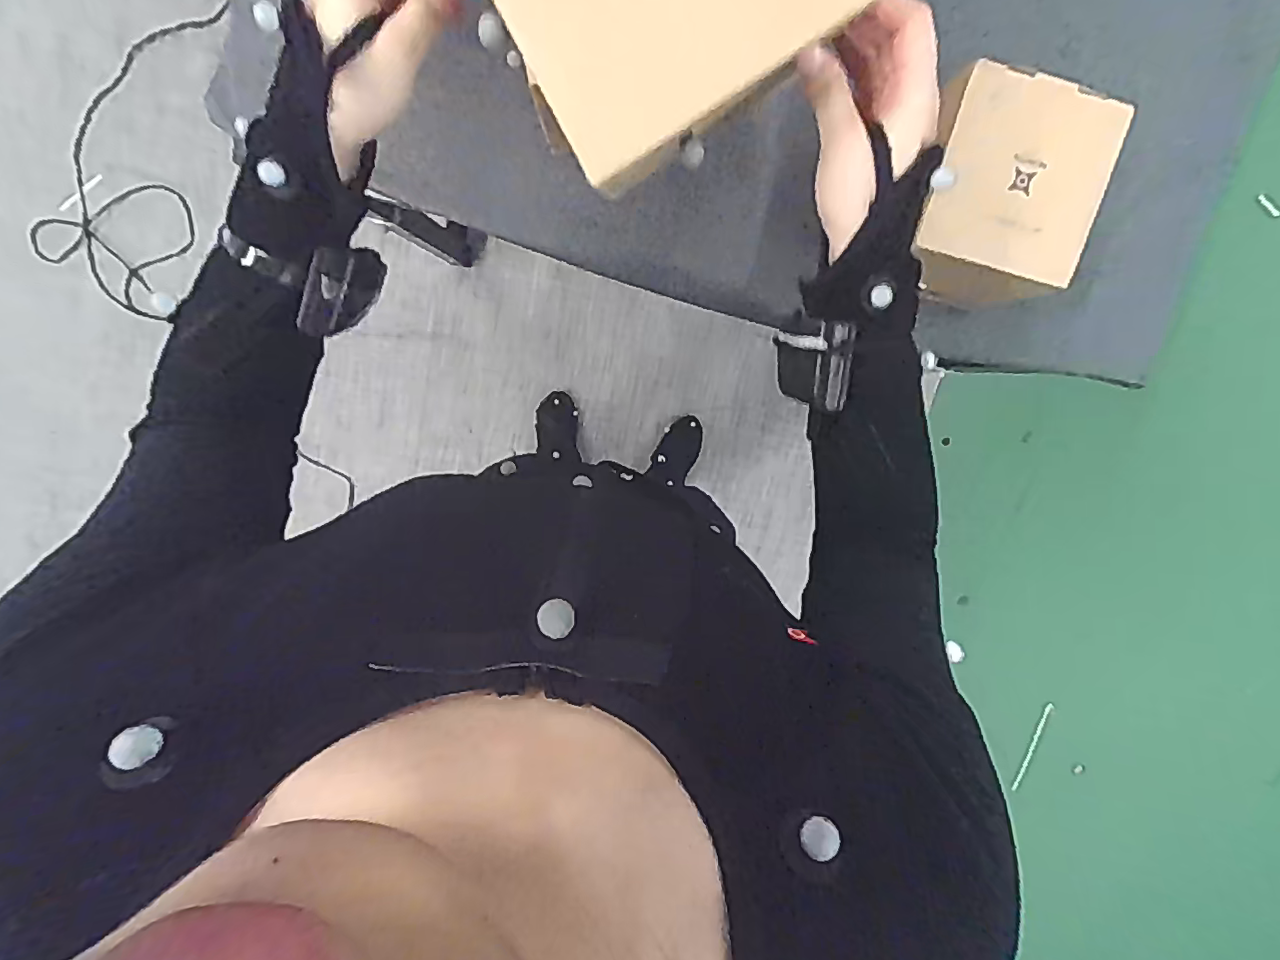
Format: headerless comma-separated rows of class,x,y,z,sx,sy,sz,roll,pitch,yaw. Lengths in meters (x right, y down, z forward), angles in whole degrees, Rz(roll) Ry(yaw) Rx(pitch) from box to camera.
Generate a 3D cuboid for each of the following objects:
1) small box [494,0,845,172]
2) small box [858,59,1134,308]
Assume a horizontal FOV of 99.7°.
small box,0.002,-0.303,0.309,0.168,0.176,0.179,-27,111,14
small box,0.370,-0.306,0.601,0.168,0.176,0.179,14,101,-3
